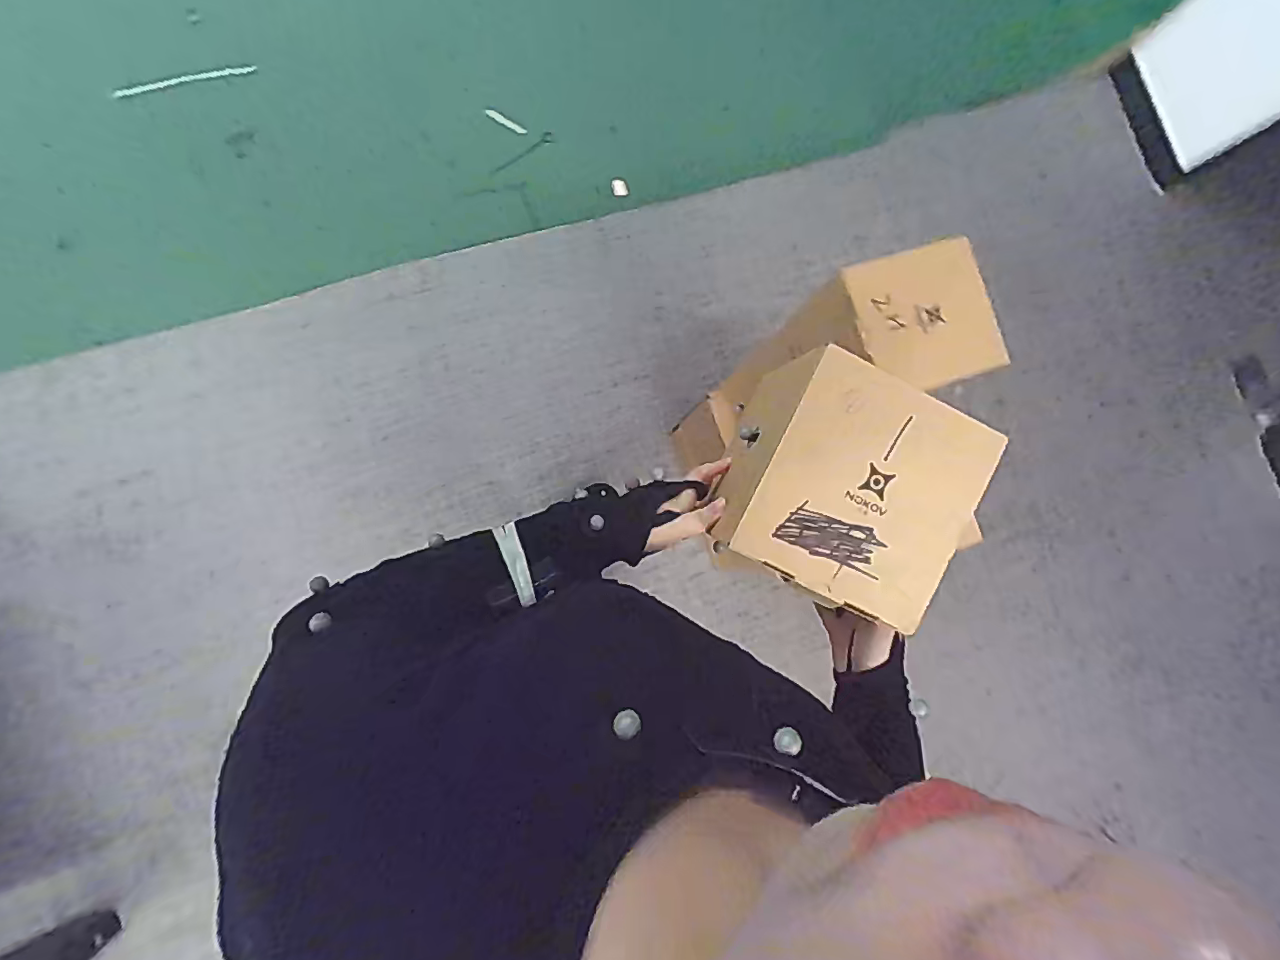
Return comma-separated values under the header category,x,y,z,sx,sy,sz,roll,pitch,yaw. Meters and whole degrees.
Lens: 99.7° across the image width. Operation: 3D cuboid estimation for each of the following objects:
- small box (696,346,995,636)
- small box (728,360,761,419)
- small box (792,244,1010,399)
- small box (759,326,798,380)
category,x,y,z,sx,sy,sz,roll,pitch,yaw
small box,0.163,0.008,0.494,0.168,0.176,0.179,26,90,-5
small box,0.294,-0.152,1.046,0.179,0.176,0.168,-18,88,-8
small box,0.332,-0.181,0.720,0.179,0.176,0.168,-17,88,-8
small box,0.310,-0.164,0.882,0.179,0.176,0.168,-17,88,-8
